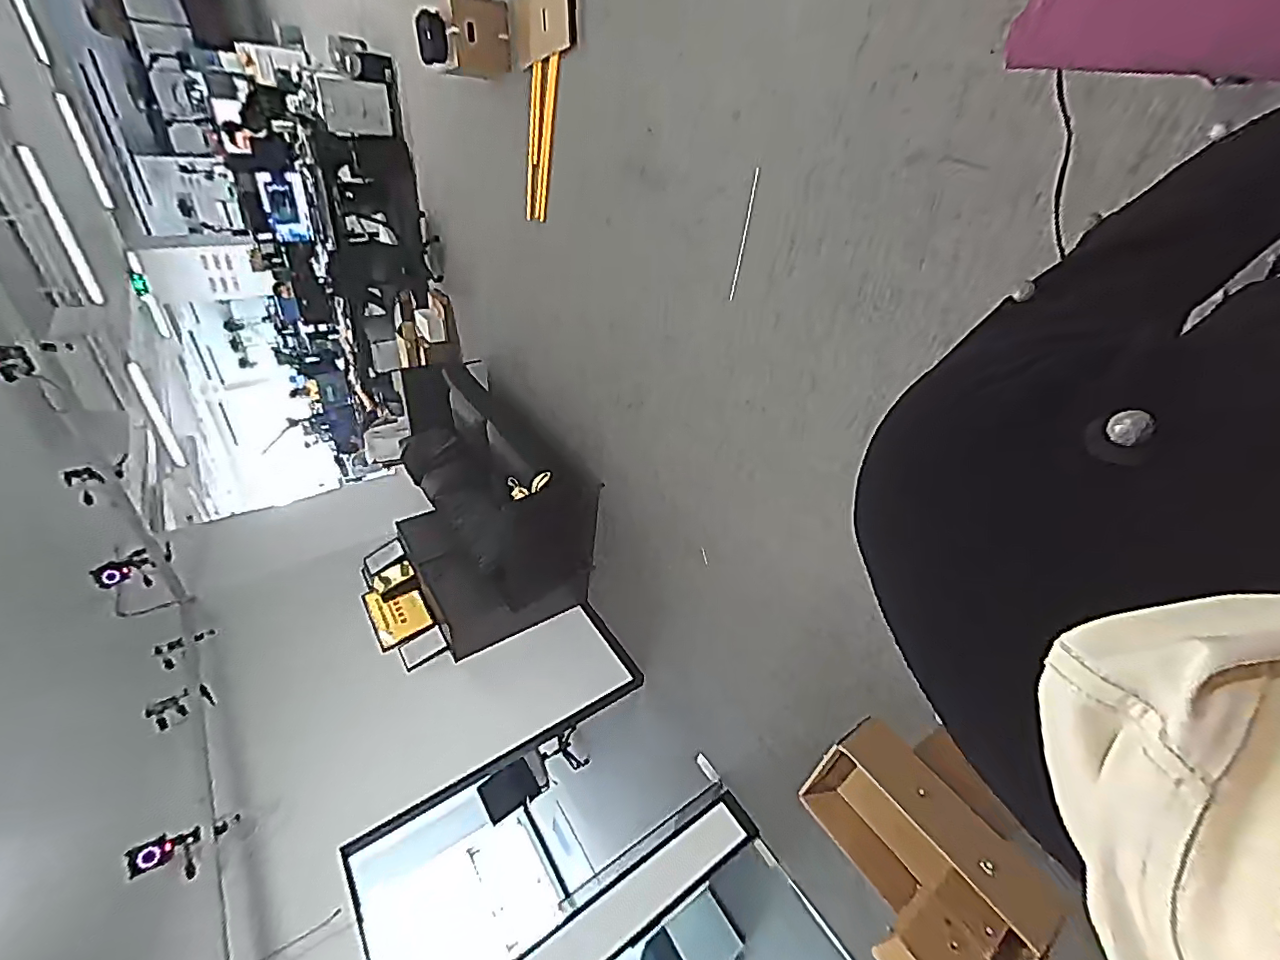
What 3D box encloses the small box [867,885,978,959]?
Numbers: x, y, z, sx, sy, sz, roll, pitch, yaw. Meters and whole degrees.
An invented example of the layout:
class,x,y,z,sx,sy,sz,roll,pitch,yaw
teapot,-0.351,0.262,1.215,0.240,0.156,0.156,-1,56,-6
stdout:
class,x,y,z,sx,sy,sz,roll,pitch,yaw
small box,0.743,1.220,1.421,0.168,0.176,0.179,45,141,34
